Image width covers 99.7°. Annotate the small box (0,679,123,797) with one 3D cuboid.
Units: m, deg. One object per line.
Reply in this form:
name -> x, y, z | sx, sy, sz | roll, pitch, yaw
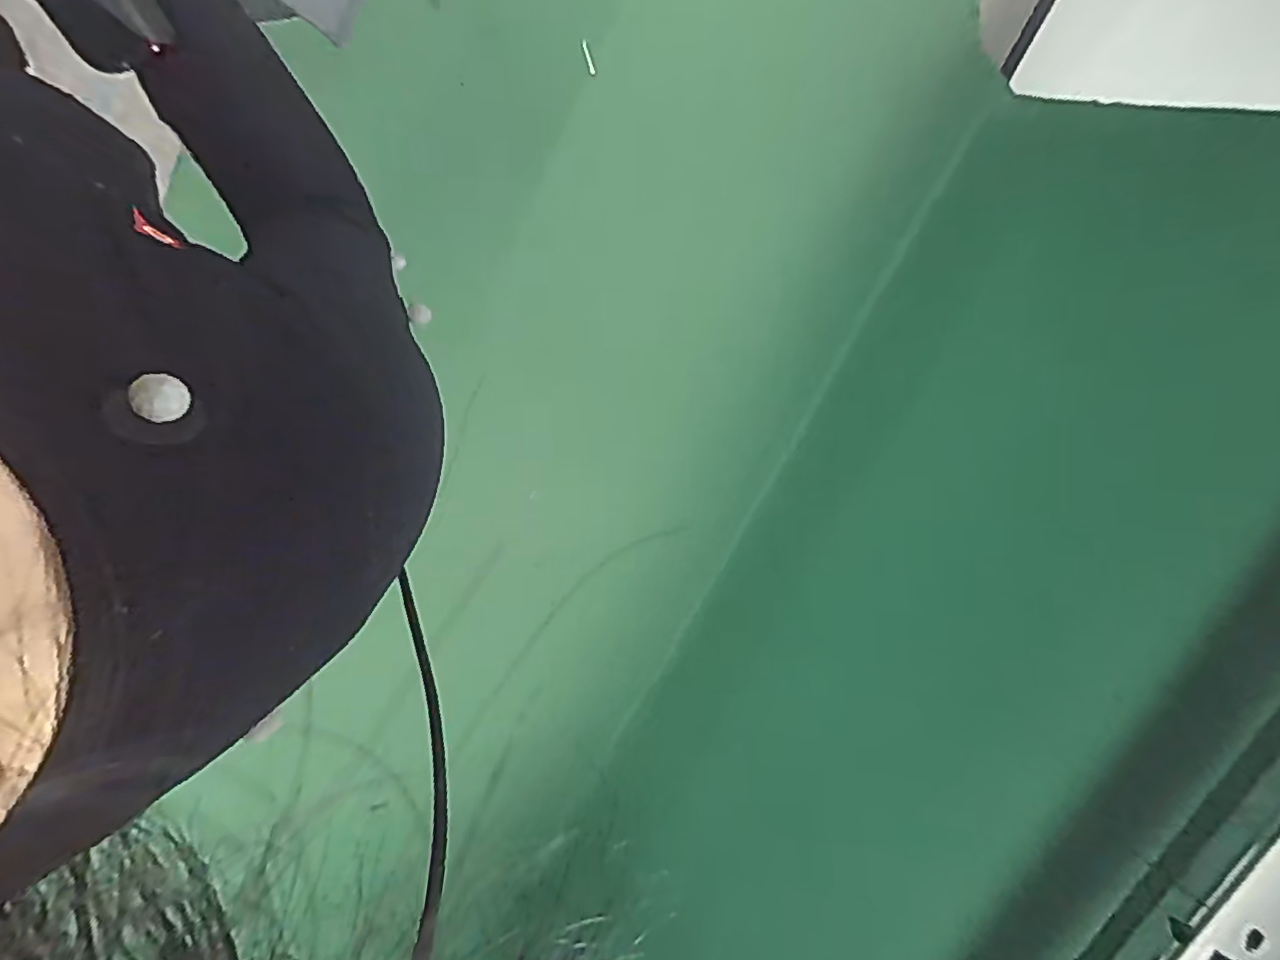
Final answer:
small box -> -1.348, 0.590, 1.241 | 0.179, 0.176, 0.168 | -52, 145, -5
